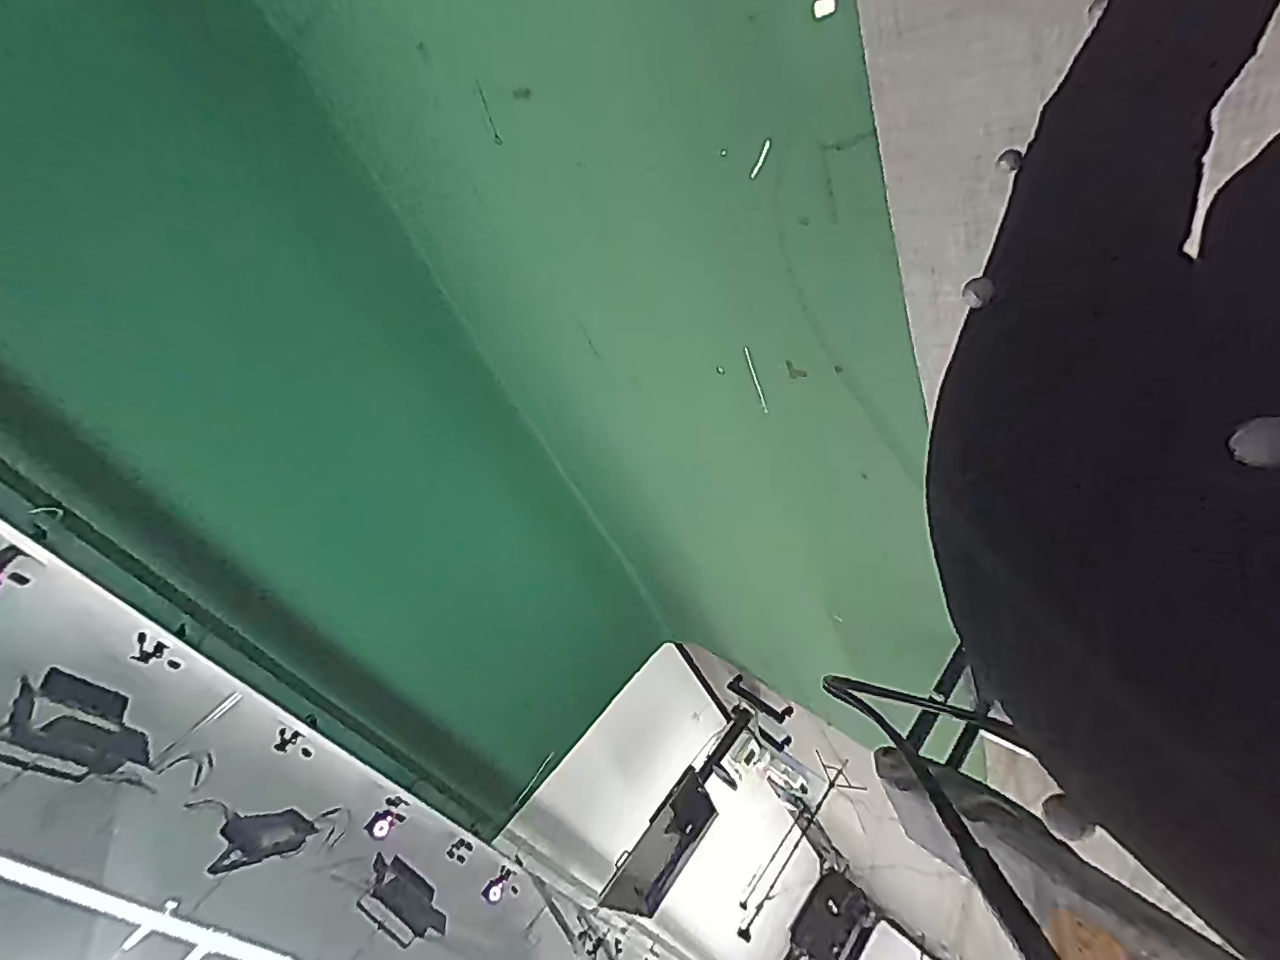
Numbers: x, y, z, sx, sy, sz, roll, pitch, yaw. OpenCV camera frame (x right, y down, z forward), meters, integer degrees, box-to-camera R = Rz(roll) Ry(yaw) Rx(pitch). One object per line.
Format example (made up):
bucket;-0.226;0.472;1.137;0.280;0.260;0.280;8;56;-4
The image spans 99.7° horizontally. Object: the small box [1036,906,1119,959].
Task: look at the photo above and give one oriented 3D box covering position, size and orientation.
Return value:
small box;1.376;1.498;1.702;0.168;0.176;0.179;16;143;51
